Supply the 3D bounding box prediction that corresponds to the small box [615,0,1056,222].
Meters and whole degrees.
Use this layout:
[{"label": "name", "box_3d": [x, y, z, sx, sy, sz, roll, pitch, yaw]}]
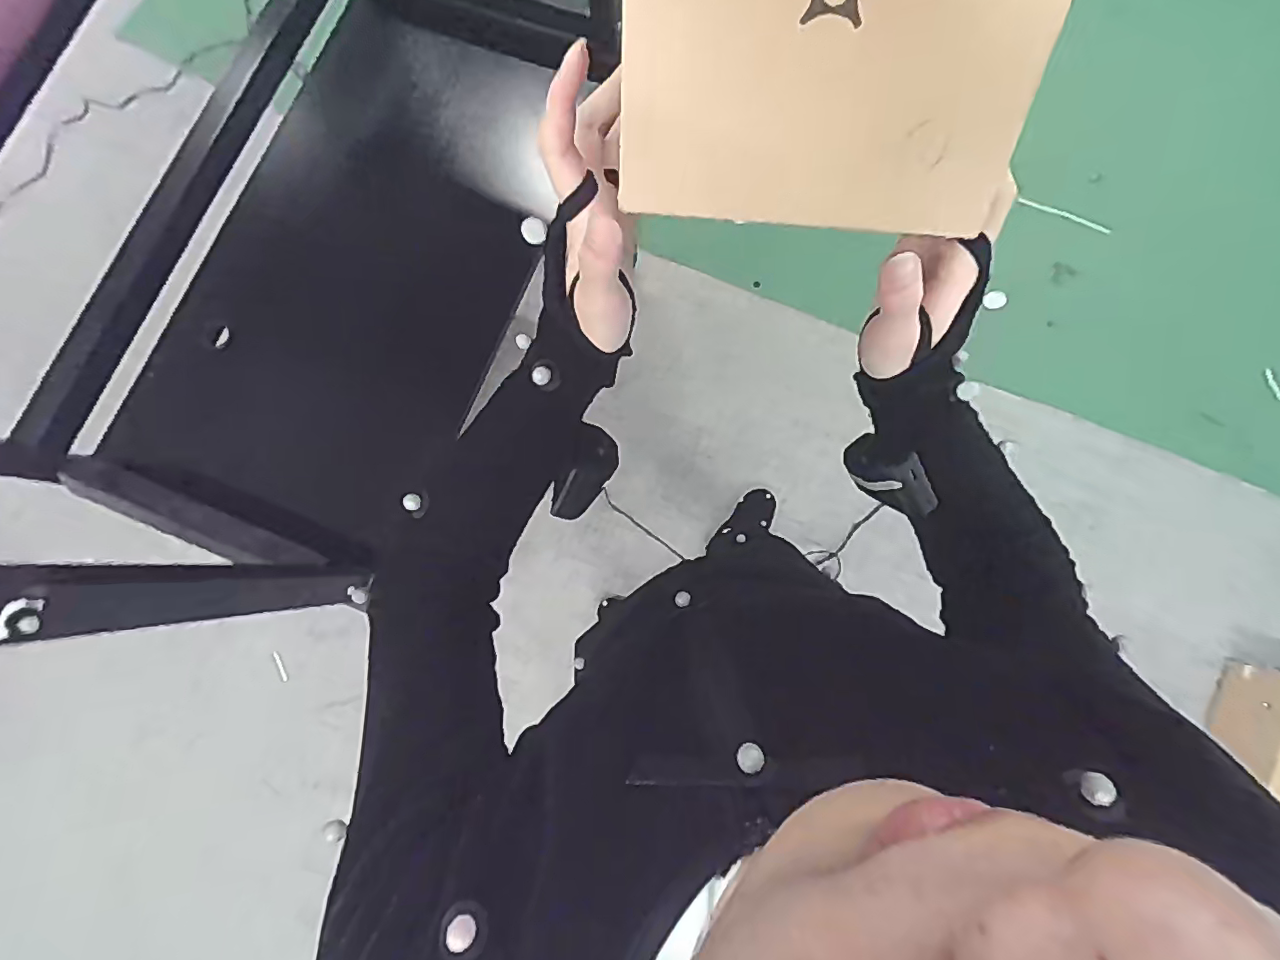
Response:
[{"label": "small box", "box_3d": [0.087, -0.242, 0.262, 0.168, 0.179, 0.176, 8, 36, 6]}]
